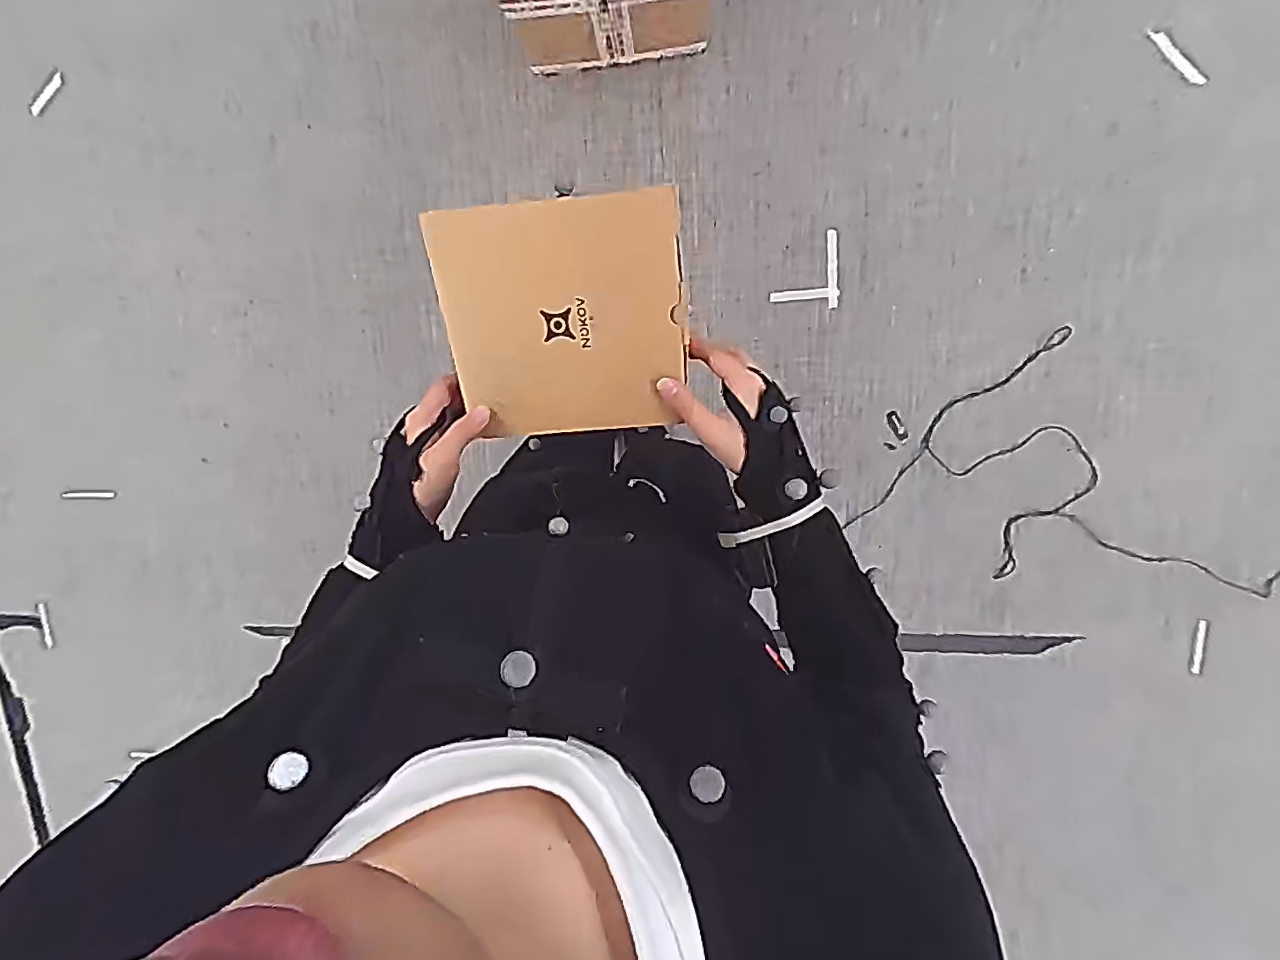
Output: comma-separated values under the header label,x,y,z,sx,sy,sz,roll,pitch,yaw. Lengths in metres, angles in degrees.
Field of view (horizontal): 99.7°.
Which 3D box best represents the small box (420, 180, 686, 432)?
label,x,y,z,sx,sy,sz,roll,pitch,yaw
small box,-0.054,-0.150,0.462,0.179,0.176,0.168,-4,115,3
